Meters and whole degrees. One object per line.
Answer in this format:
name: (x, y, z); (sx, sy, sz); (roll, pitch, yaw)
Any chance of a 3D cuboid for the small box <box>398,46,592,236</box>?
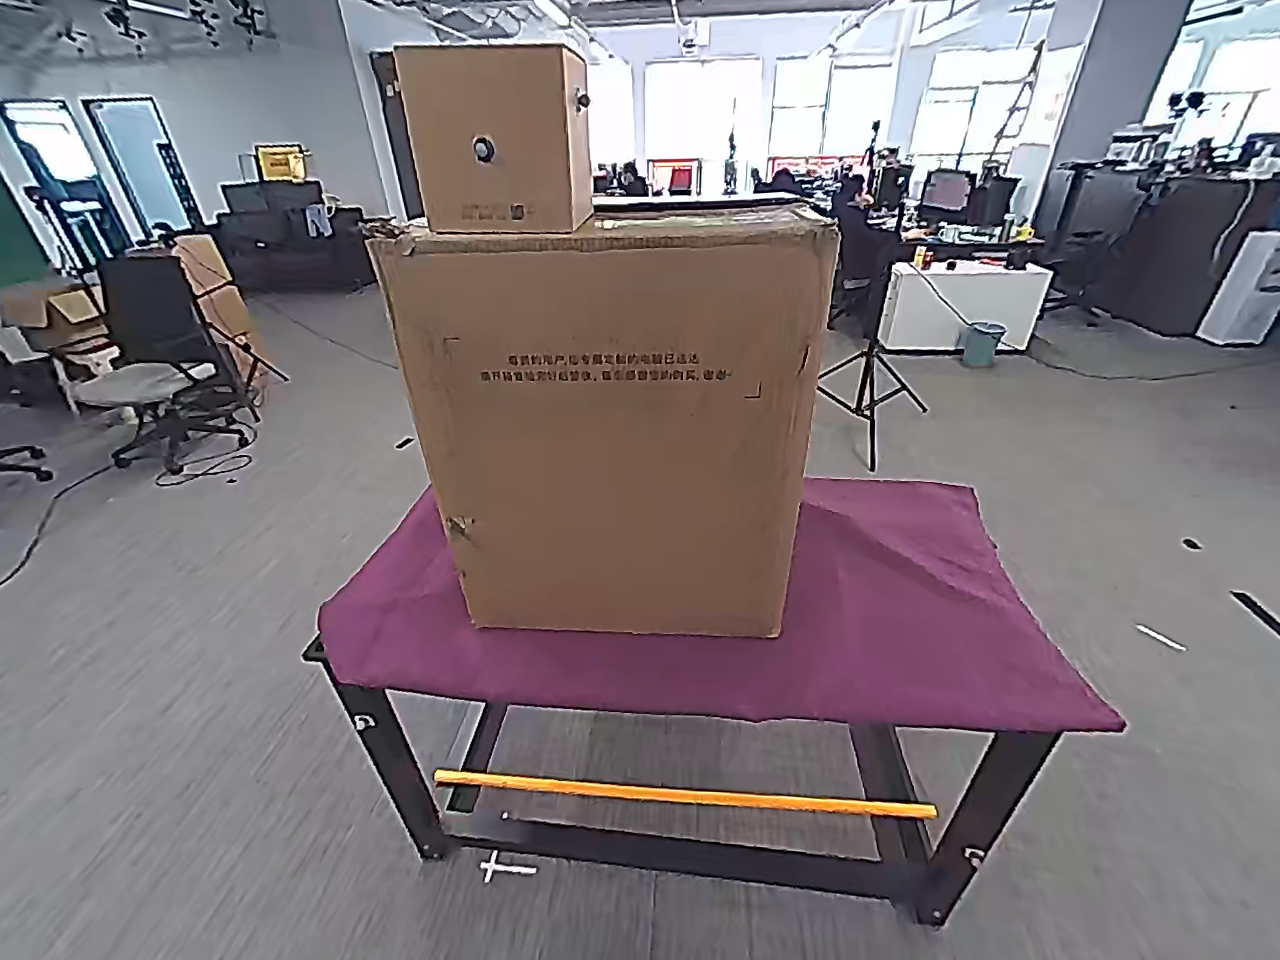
small box: (-0.148, -0.387, 0.630); (0.168, 0.176, 0.179); (2, 32, 3)
